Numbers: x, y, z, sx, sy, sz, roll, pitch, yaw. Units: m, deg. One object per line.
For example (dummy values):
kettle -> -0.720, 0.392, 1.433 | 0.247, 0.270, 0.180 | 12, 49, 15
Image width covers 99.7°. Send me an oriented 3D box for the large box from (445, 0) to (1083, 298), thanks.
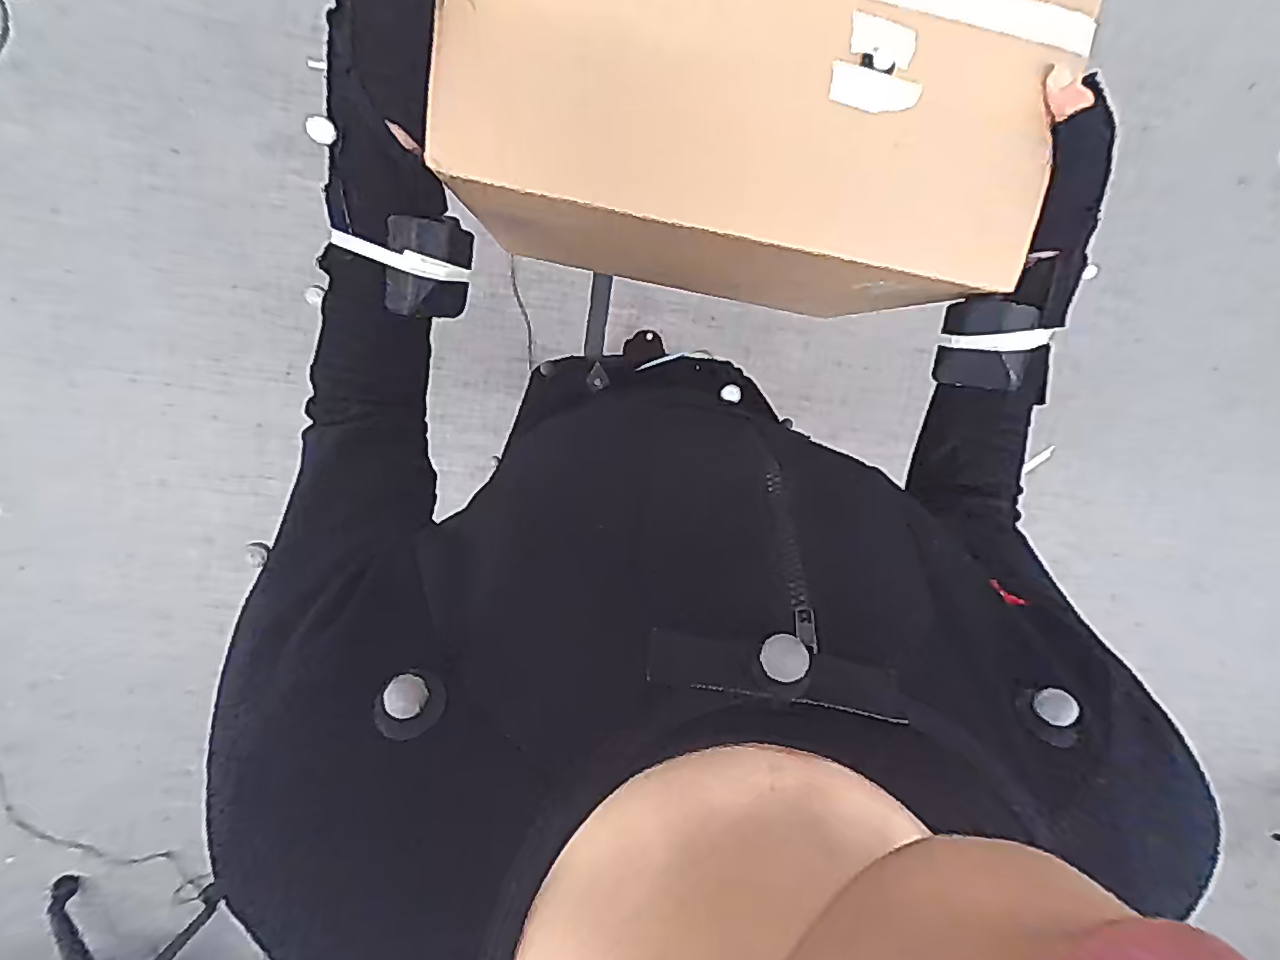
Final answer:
large box -> 0.077, -0.361, 0.477 | 0.408, 0.320, 0.320 | 8, 104, -8
